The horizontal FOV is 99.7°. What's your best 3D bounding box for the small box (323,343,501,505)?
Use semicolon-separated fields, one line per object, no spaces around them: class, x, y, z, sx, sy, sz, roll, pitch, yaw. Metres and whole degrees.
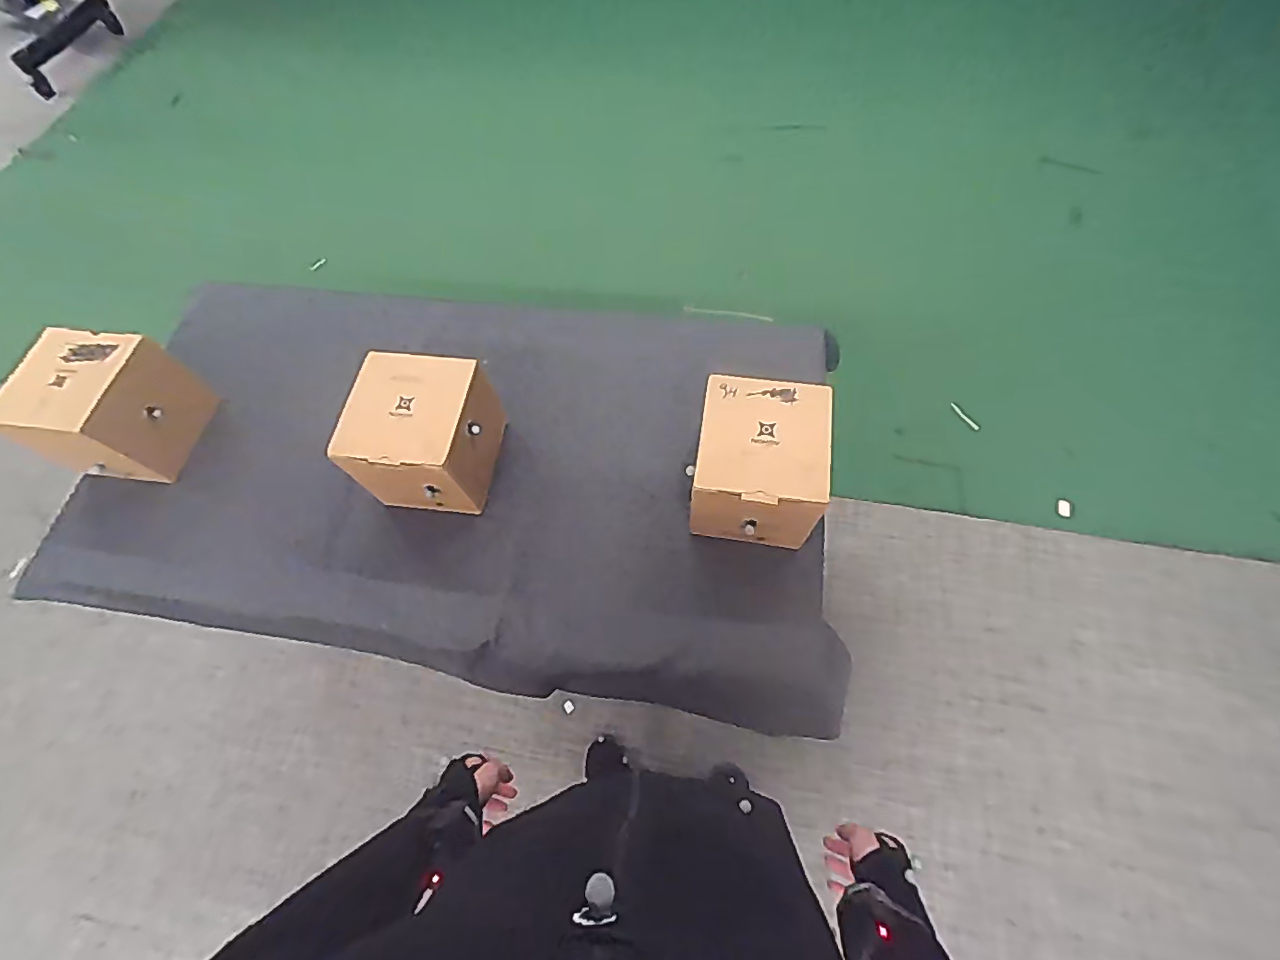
small box;-0.321;-0.077;0.805;0.168;0.176;0.179;6;64;4

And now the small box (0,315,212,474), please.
small box;-0.833;-0.131;0.852;0.168;0.176;0.179;7;65;6

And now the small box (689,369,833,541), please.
small box;0.161;-0.028;0.753;0.168;0.176;0.179;8;66;7
